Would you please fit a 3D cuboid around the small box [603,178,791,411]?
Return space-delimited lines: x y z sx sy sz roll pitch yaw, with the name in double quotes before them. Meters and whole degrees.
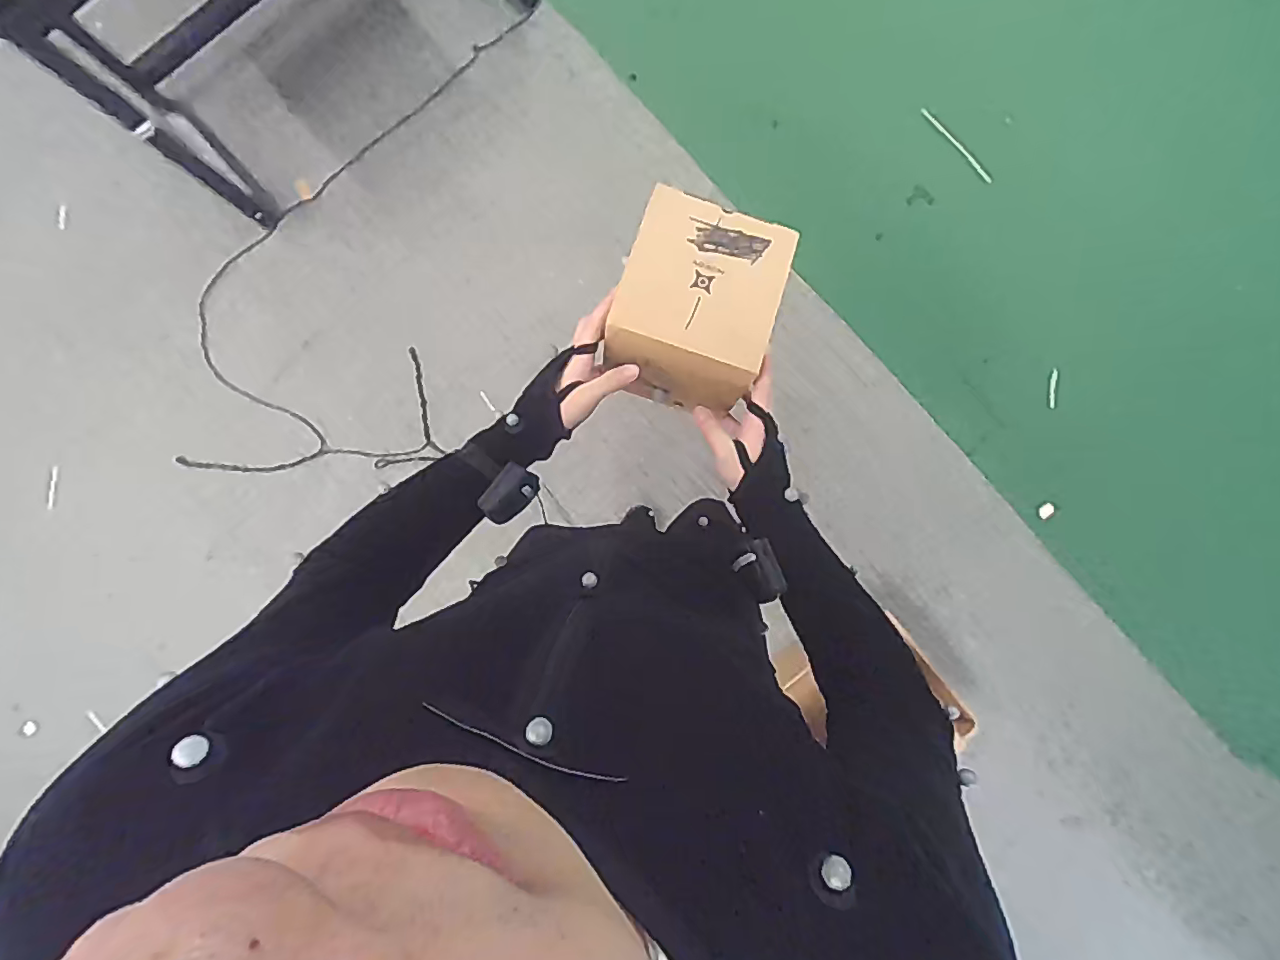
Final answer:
"small box" 0.056 -0.207 0.646 0.168 0.176 0.179 18 78 -2

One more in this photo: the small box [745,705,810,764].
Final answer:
"small box" 0.409 0.740 1.470 0.168 0.176 0.179 -40 86 -2
